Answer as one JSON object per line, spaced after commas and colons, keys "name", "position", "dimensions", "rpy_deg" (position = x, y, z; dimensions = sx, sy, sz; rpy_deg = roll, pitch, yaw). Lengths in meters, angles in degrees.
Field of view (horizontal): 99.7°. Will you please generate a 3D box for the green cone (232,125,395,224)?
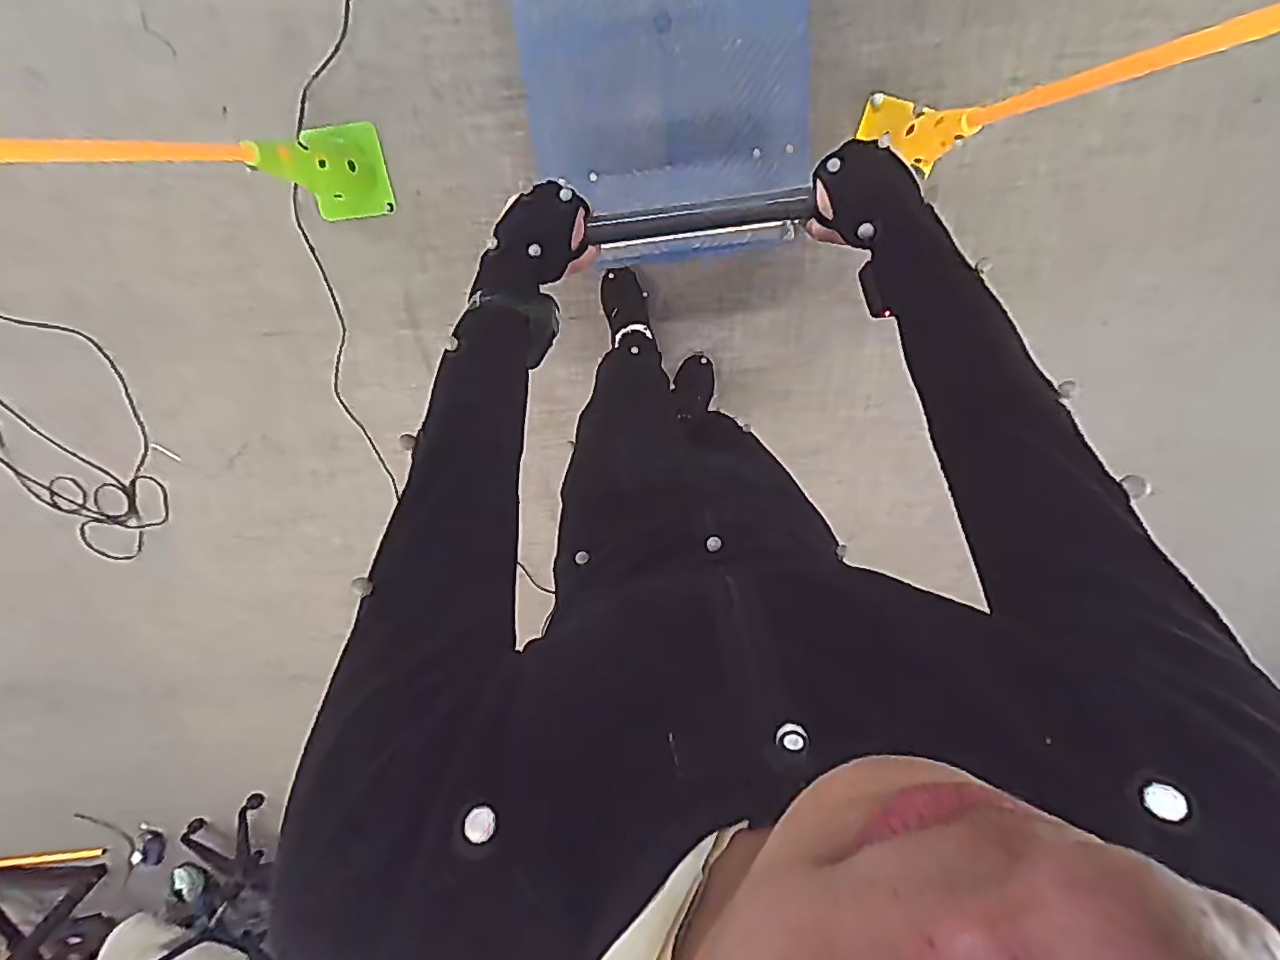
{"name": "green cone", "position": [-0.738, -0.688, 1.188], "dimensions": [0.202, 0.368, 0.200], "rpy_deg": [-5, 113, 7]}
